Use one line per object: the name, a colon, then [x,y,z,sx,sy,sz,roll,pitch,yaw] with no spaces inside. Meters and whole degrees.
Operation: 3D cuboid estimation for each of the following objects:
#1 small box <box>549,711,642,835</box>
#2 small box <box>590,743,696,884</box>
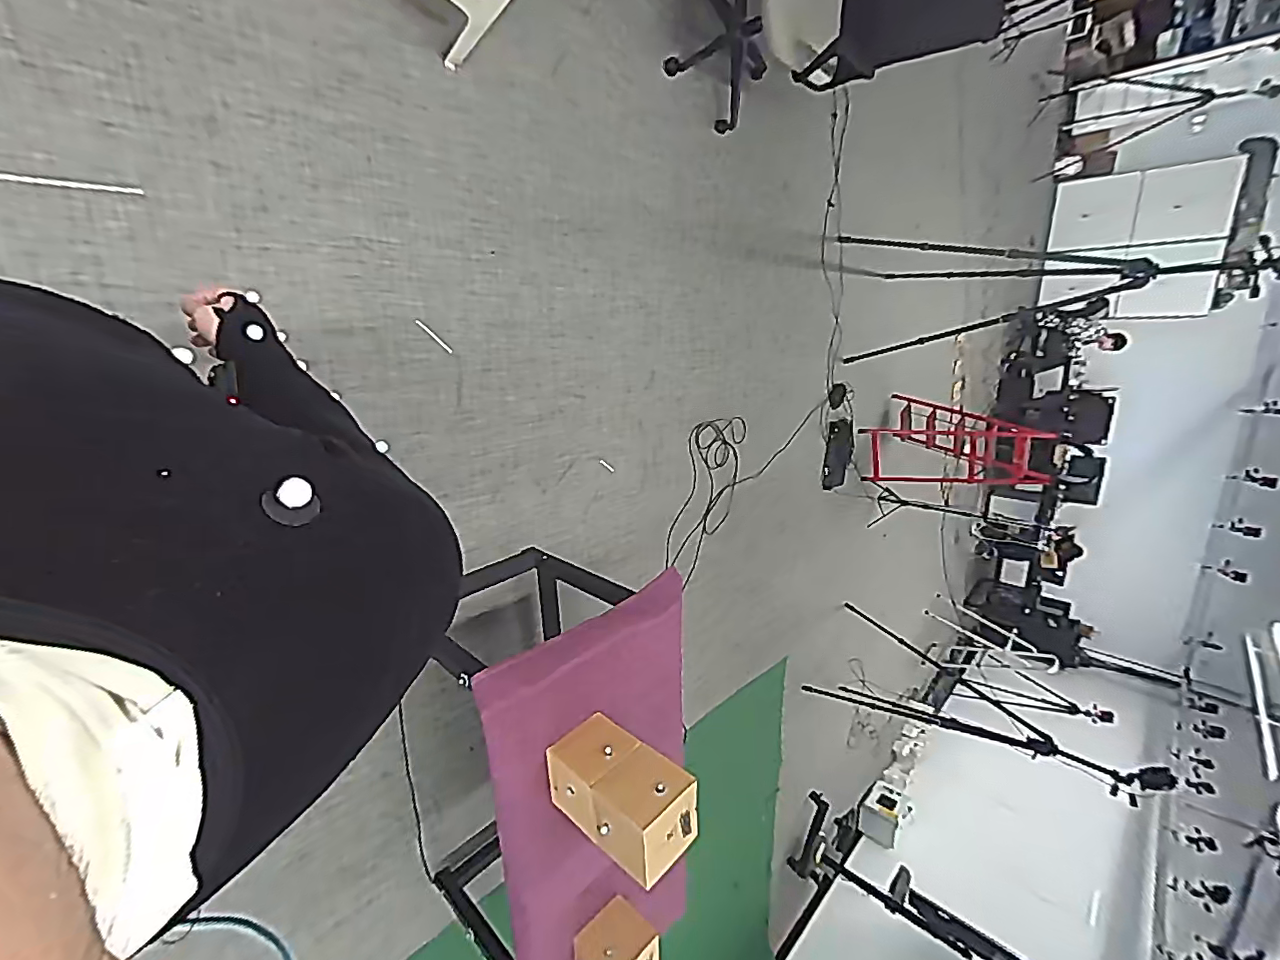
small box: [-0.111,0.713,1.336,0.179,0.176,0.168,-19,114,-43]
small box: [0.008,0.741,1.226,0.179,0.176,0.168,-18,113,-42]
